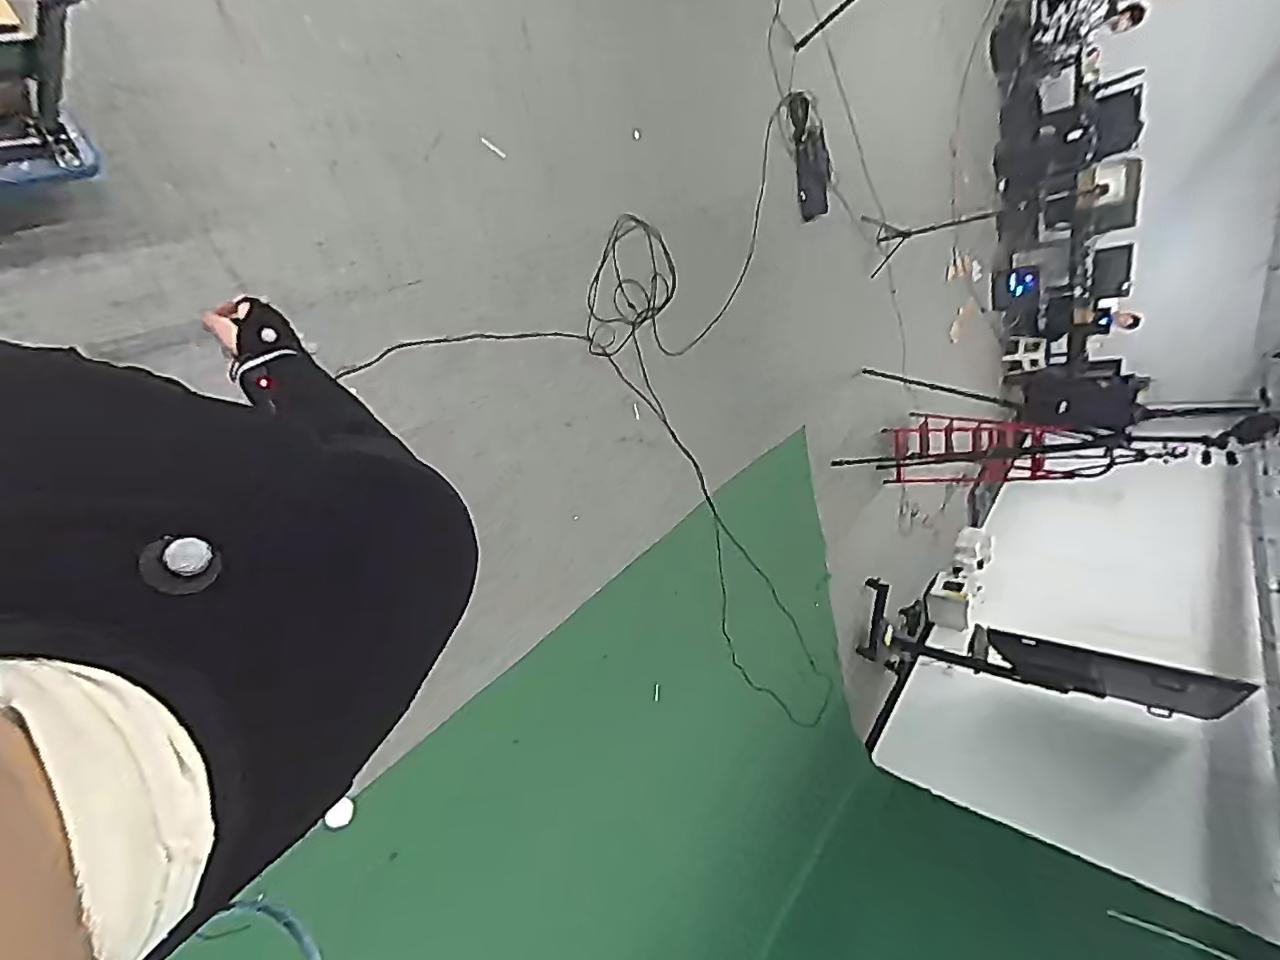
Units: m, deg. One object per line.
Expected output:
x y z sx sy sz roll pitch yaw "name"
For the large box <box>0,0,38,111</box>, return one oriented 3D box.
-1.135 -0.738 0.695 0.320 0.320 0.408 -42 122 -35 "large box"
